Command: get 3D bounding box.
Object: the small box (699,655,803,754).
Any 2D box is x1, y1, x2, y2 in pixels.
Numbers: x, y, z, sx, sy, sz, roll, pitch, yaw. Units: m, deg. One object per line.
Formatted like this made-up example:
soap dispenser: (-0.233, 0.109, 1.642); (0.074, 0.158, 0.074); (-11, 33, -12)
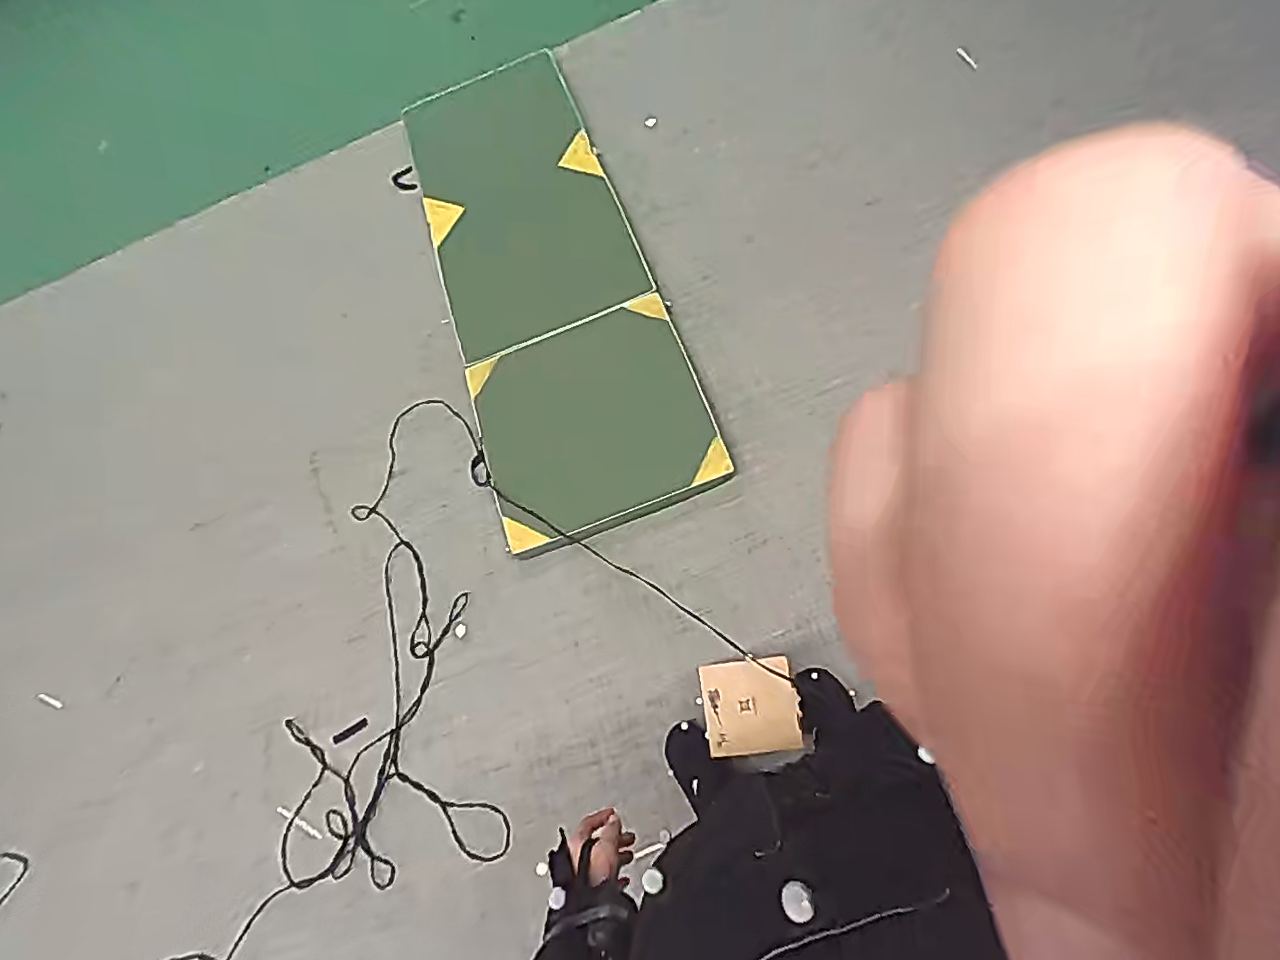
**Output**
small box: (0.220, 0.453, 1.106); (0.179, 0.176, 0.168); (-9, 69, 7)
